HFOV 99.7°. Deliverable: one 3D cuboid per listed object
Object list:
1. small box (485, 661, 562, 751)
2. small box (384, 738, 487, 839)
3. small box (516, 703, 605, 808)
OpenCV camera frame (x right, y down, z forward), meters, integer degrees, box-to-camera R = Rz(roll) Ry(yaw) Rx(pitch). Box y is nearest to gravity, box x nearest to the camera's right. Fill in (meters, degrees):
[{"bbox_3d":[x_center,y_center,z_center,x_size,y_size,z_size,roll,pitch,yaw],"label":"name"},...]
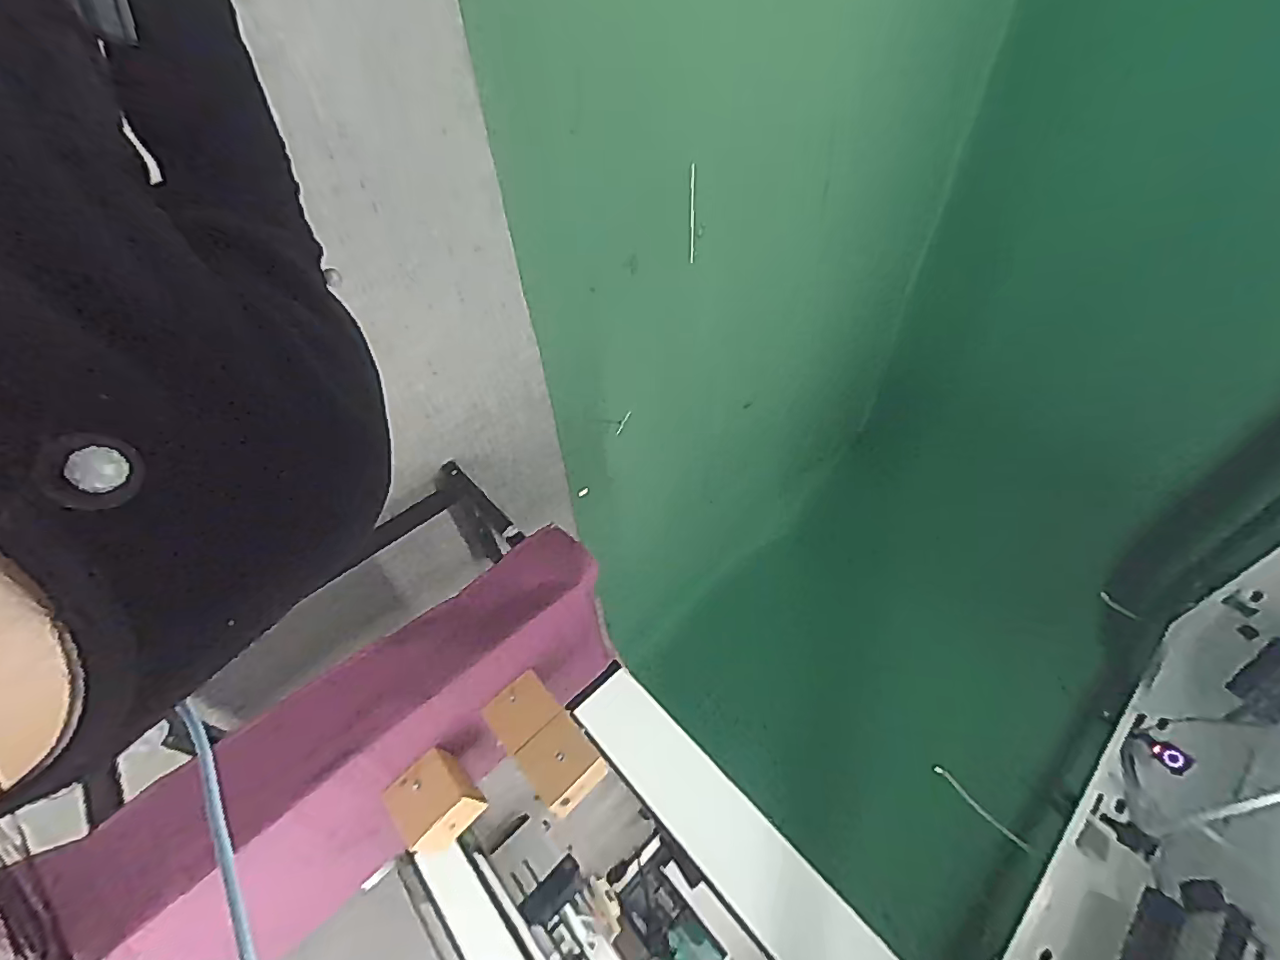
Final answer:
[{"bbox_3d":[-0.332,0.670,1.583,0.179,0.176,0.168,-37,146,-21],"label":"small box"},{"bbox_3d":[-0.555,0.837,1.472,0.168,0.176,0.179,-41,147,-18],"label":"small box"},{"bbox_3d":[-0.223,0.759,1.497,0.179,0.176,0.168,-38,146,-22],"label":"small box"}]
